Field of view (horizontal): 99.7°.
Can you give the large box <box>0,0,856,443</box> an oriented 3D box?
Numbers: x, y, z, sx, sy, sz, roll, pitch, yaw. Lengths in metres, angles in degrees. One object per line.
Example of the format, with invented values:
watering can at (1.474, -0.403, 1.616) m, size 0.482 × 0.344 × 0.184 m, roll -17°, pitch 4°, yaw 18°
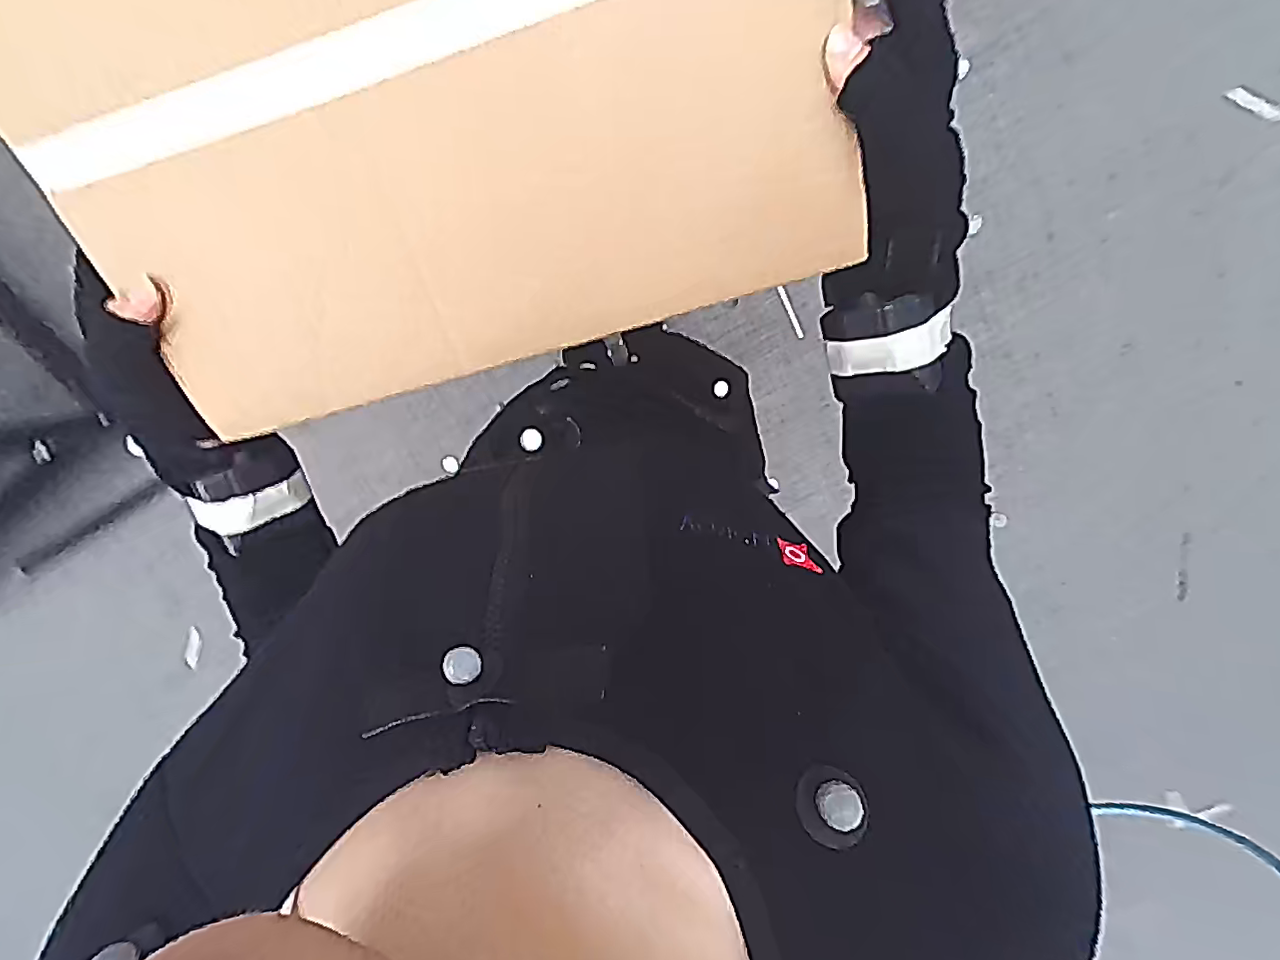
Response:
large box at (-0.106, -0.271, 0.394) m, size 0.408 × 0.320 × 0.320 m, roll -13°, pitch 117°, yaw 6°
